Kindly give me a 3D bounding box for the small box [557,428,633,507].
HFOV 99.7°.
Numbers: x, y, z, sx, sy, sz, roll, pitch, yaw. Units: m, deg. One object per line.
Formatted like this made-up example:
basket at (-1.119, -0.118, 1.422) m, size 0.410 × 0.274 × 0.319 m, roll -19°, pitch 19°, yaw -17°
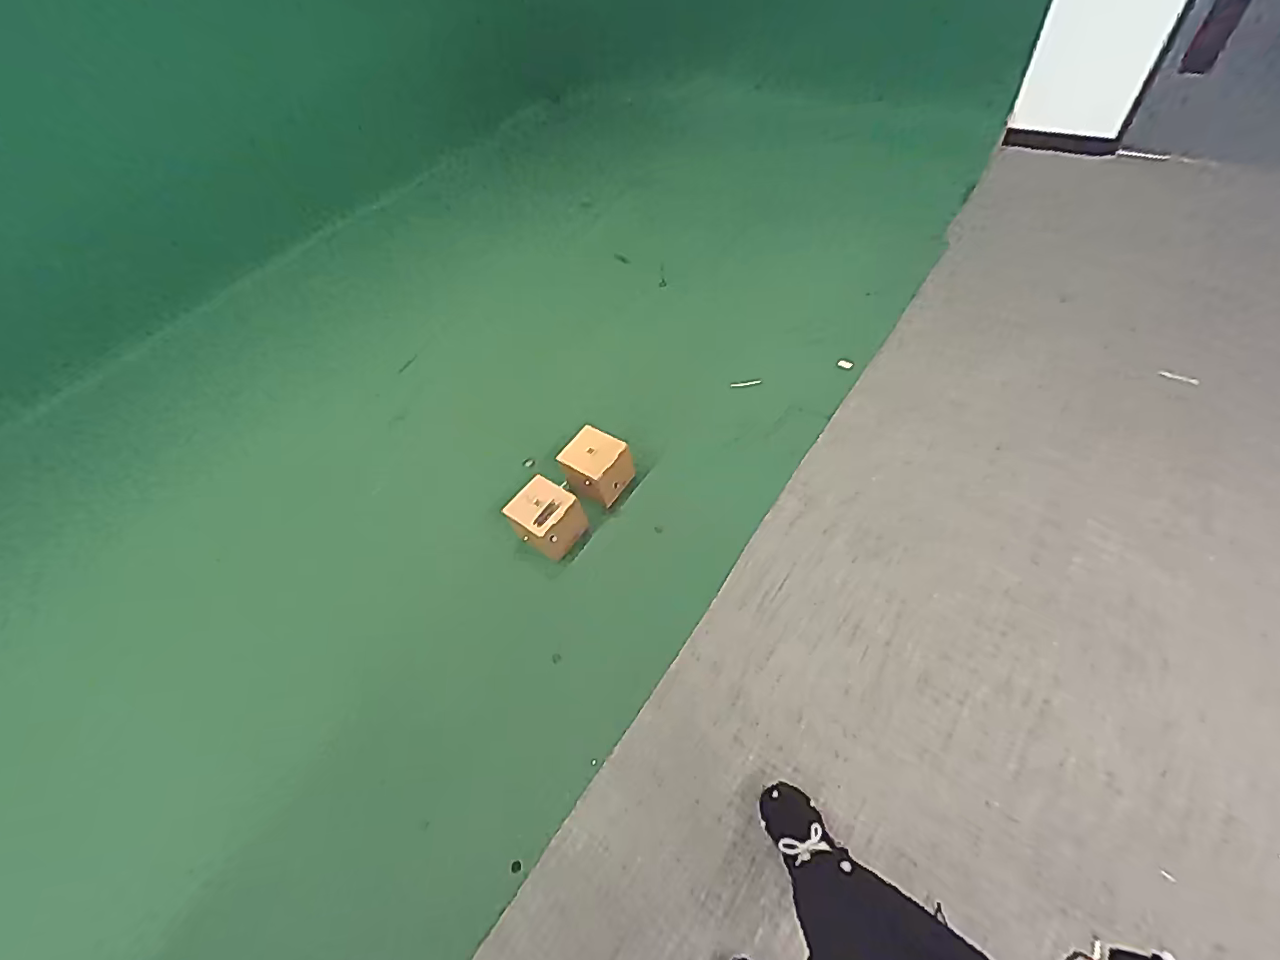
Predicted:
small box at (-0.144, -0.038, 1.799) m, size 0.179 × 0.176 × 0.168 m, roll 27°, pitch 62°, yaw 25°
